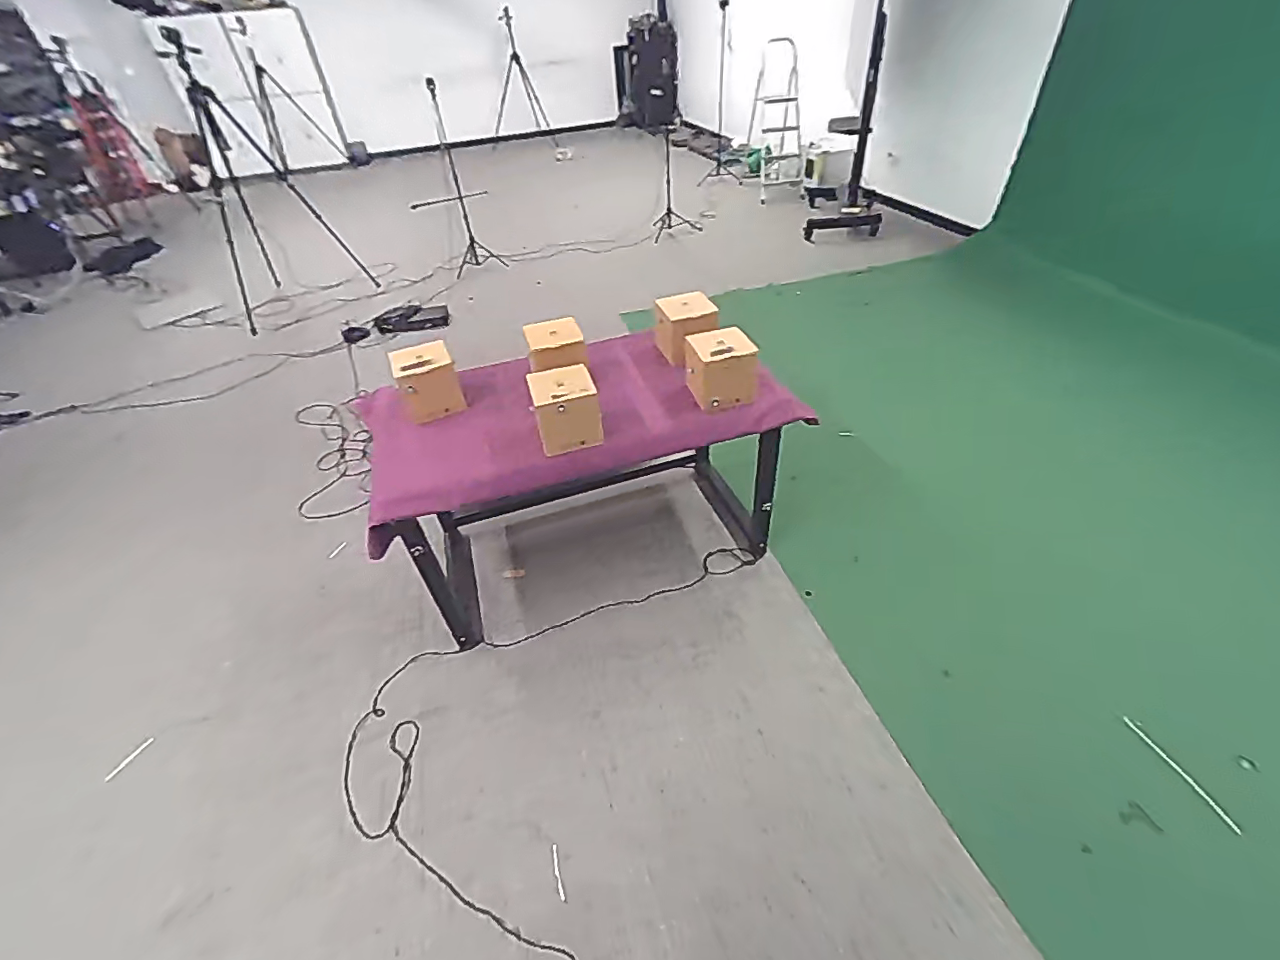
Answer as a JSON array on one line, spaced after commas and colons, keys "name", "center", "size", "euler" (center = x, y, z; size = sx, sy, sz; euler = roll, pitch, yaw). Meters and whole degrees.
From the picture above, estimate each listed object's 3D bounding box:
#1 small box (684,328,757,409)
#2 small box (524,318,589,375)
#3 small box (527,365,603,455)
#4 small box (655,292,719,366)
[{"name": "small box", "center": [0.236, -0.322, 1.595], "size": [0.168, 0.176, 0.179], "euler": [-12, 40, -8]}, {"name": "small box", "center": [-0.266, -0.394, 1.725], "size": [0.168, 0.176, 0.179], "euler": [-14, 44, -12]}, {"name": "small box", "center": [-0.207, -0.193, 1.491], "size": [0.168, 0.176, 0.179], "euler": [-14, 41, -10]}, {"name": "small box", "center": [0.153, -0.504, 1.807], "size": [0.168, 0.176, 0.179], "euler": [-15, 43, -10]}]
